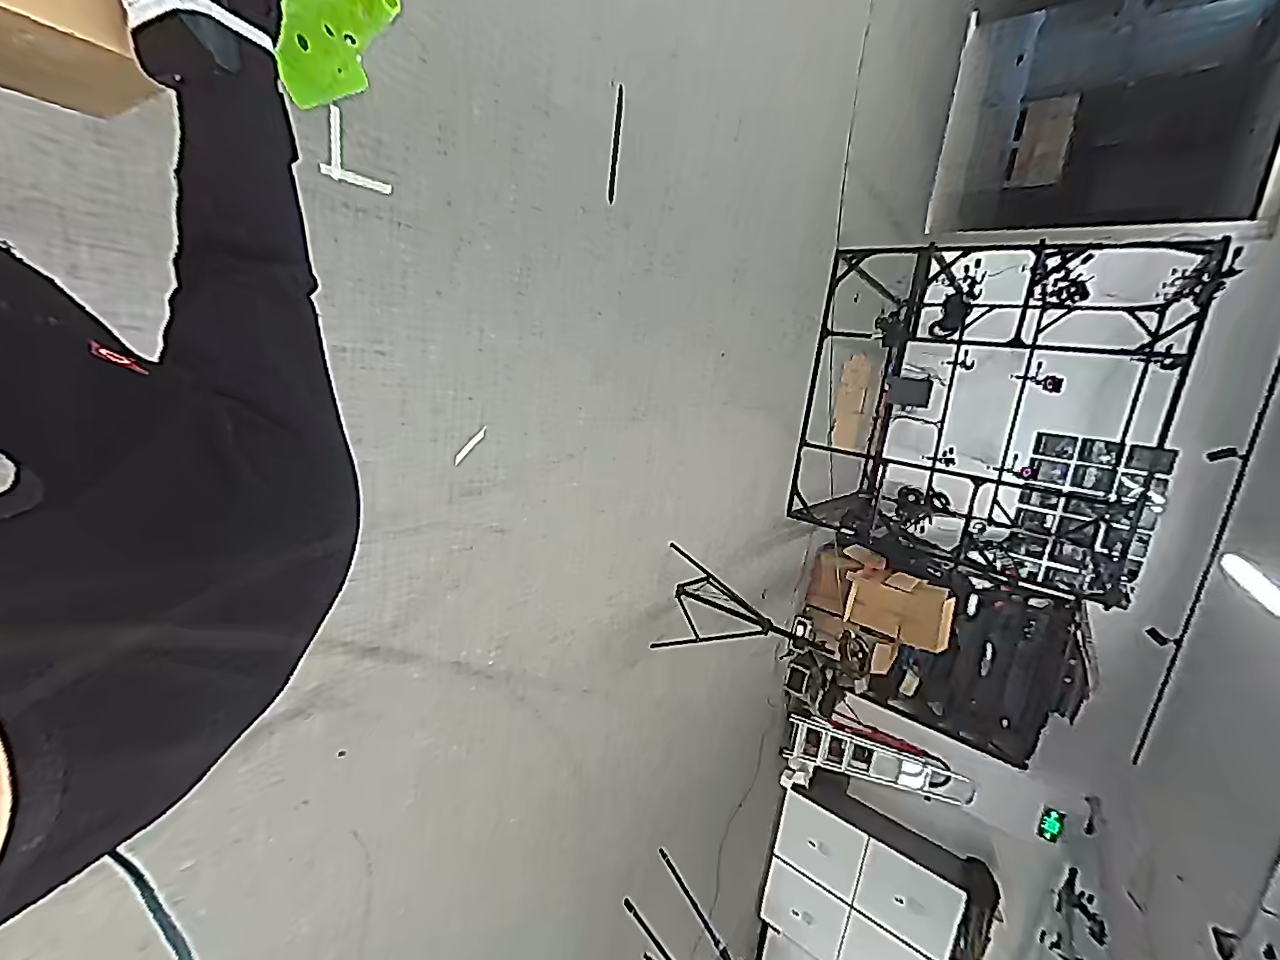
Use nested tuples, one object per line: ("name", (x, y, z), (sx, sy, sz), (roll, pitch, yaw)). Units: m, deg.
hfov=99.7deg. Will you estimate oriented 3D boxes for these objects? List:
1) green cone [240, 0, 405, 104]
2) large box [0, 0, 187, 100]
("green cone", (-0.603, -0.935, 1.107), (0.202, 0.368, 0.200), (-51, 140, -32))
("large box", (-0.546, -0.478, 0.290), (0.408, 0.320, 0.320), (-8, 113, -53))
